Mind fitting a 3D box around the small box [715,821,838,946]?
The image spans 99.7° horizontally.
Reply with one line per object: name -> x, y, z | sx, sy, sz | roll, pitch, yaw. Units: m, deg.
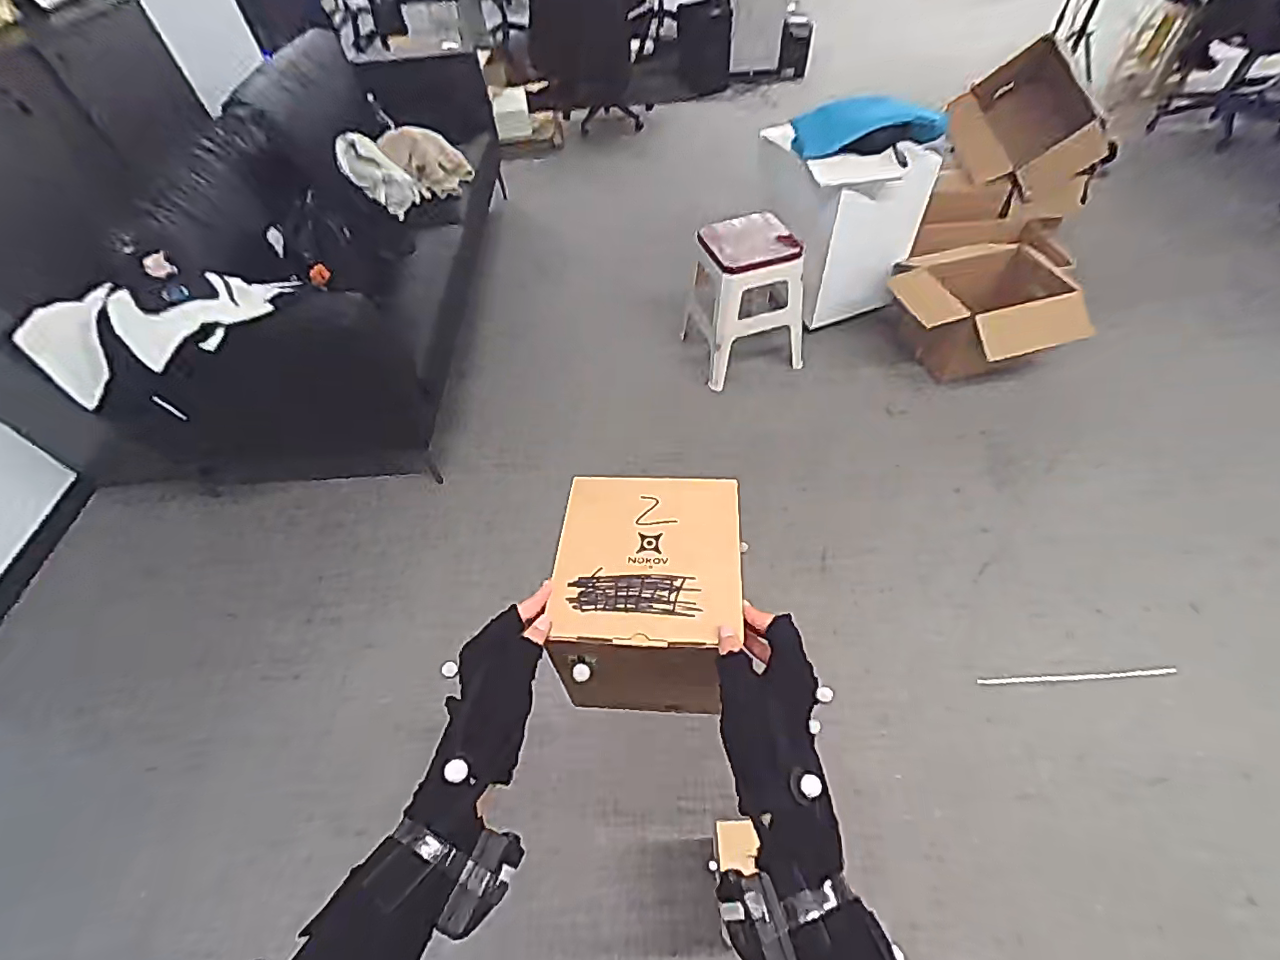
small box -> 0.225, 0.707, 0.947 | 0.179, 0.176, 0.168 | -4, 51, 1
